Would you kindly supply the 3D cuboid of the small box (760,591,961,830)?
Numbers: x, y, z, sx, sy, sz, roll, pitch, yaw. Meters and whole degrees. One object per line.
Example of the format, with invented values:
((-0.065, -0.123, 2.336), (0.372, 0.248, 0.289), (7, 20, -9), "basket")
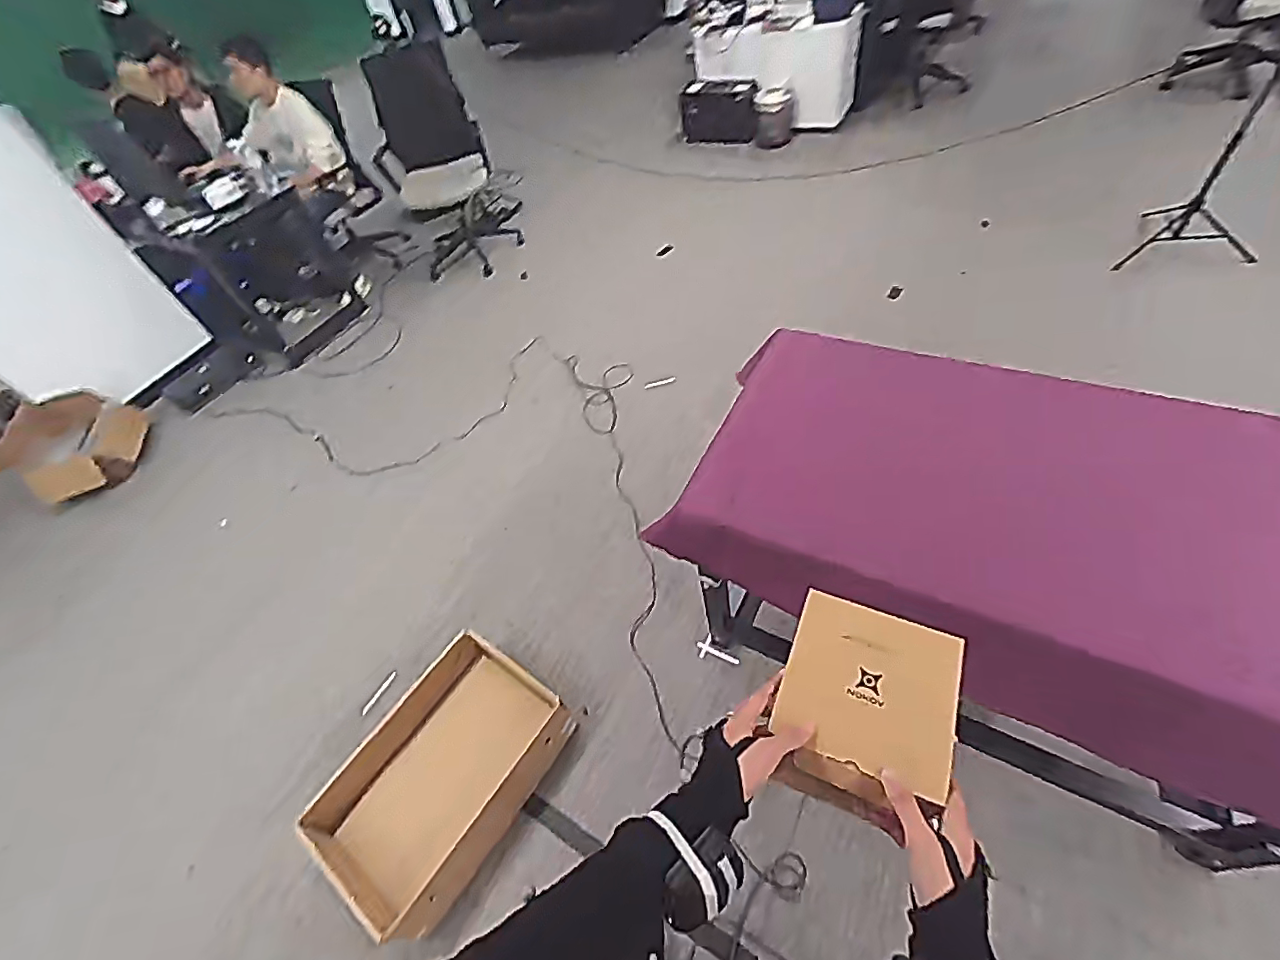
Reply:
((0.240, 0.263, 0.614), (0.168, 0.176, 0.179), (16, 54, 20), "small box")
